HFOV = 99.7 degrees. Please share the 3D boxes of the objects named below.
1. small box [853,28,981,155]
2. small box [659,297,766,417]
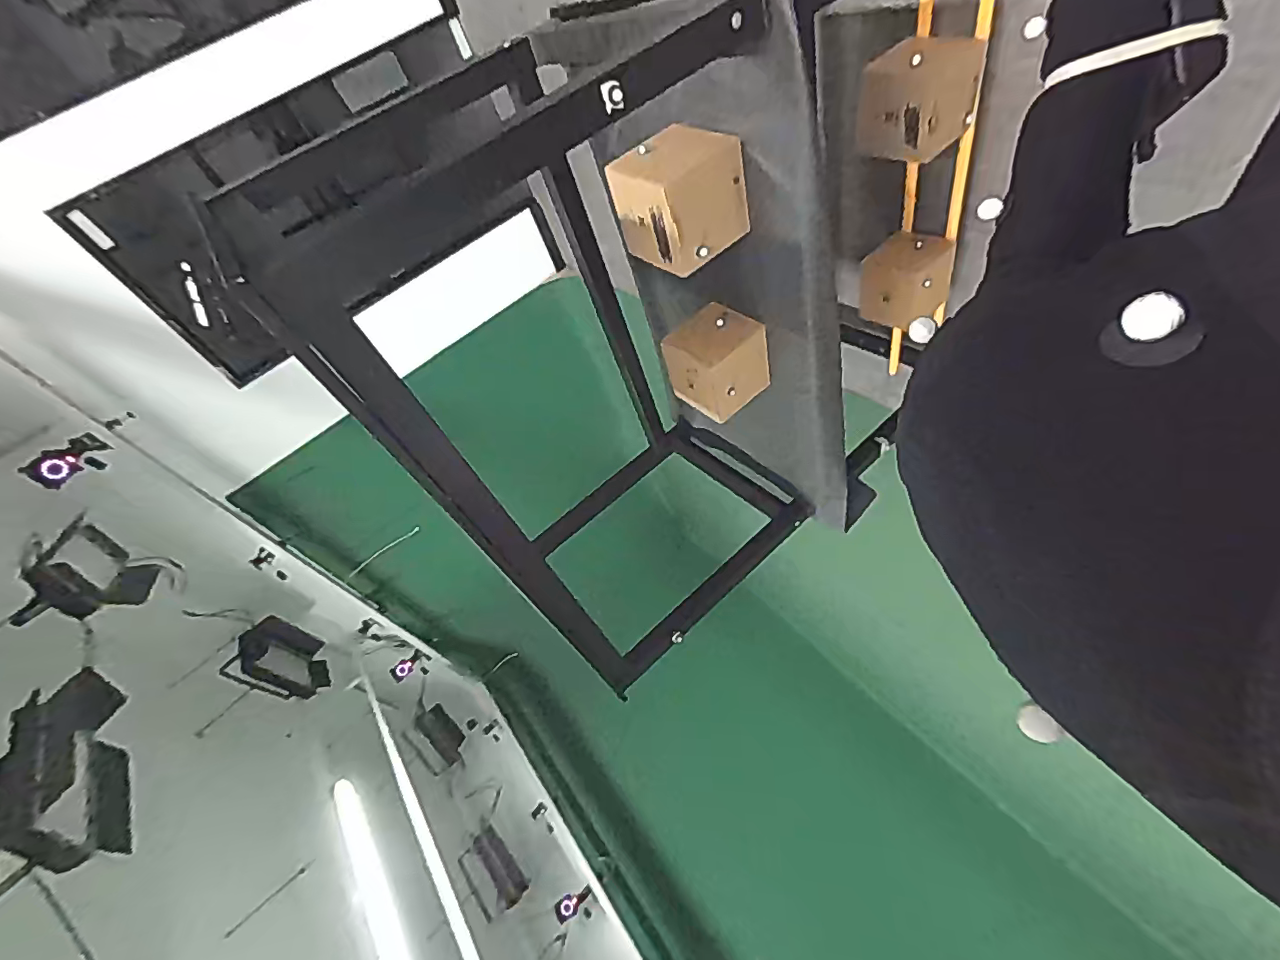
[{"bbox_3d":[0.583,-0.829,1.151,0.179,0.176,0.168,39,162,36],"label":"small box"},{"bbox_3d":[0.174,-0.284,1.243,0.168,0.176,0.179,39,162,36],"label":"small box"}]
